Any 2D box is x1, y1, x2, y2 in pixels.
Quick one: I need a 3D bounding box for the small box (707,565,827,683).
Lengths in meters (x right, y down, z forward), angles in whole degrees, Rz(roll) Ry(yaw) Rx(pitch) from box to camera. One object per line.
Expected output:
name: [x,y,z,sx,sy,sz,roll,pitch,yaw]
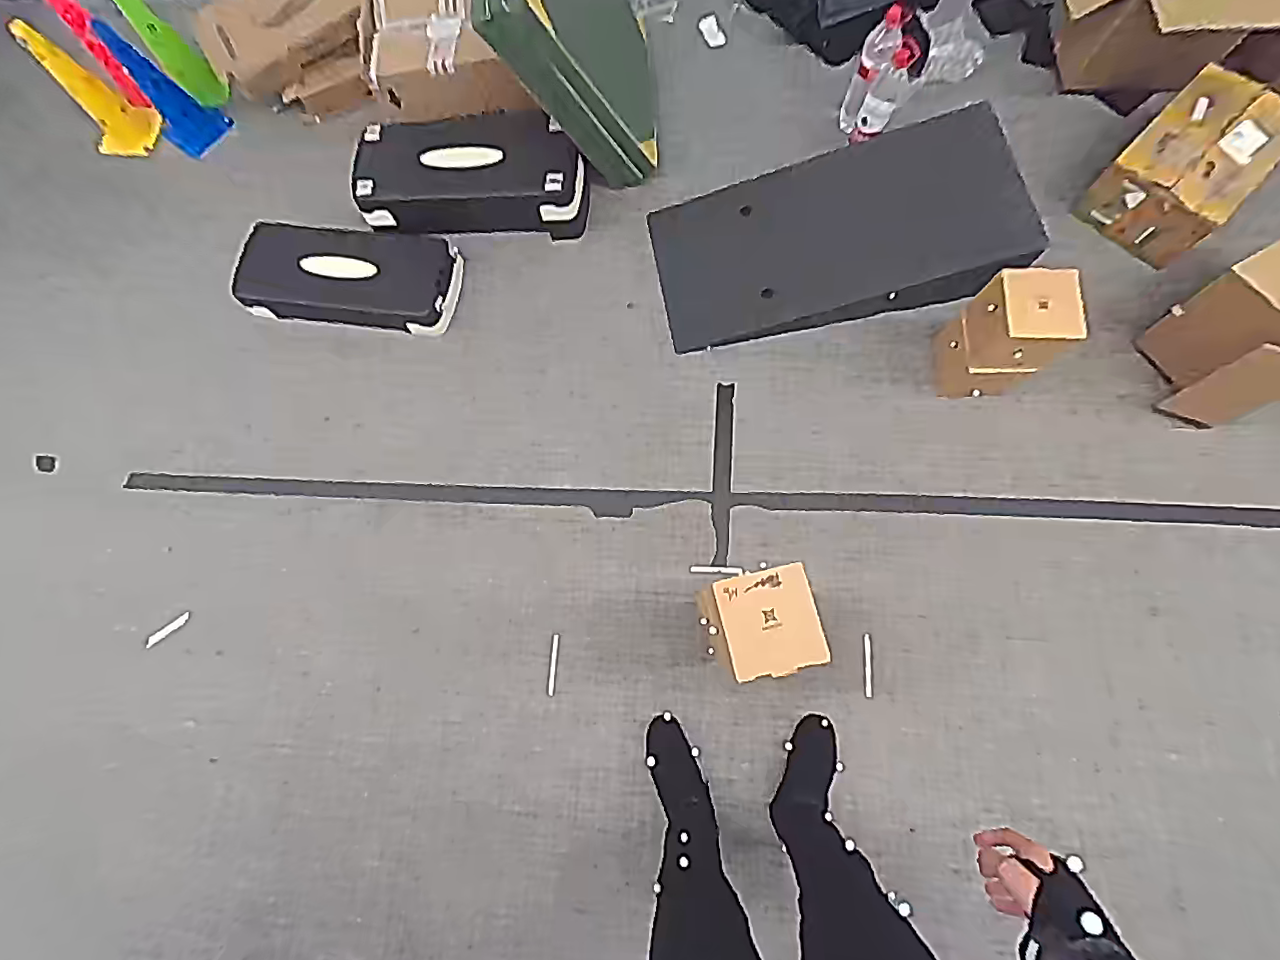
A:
small box: [0.228,0.265,1.017,0.168,0.176,0.179,-13,76,0]
